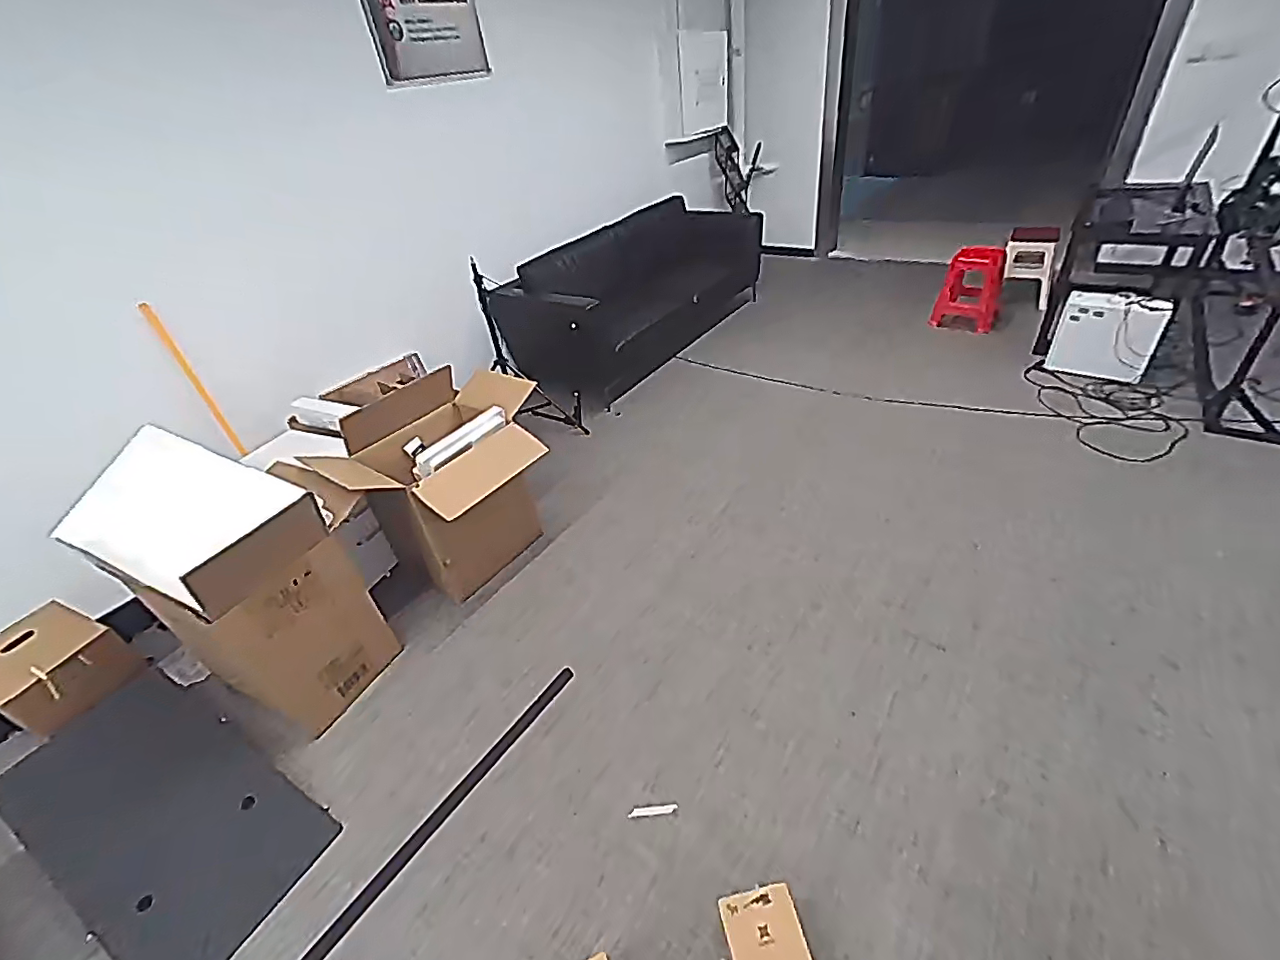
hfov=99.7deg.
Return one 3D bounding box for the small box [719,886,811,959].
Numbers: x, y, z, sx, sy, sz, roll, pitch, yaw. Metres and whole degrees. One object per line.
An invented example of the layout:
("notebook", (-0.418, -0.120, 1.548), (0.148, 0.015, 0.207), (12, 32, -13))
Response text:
("small box", (0.280, 1.056, 1.211), (0.168, 0.176, 0.179), (-11, 37, -4))
